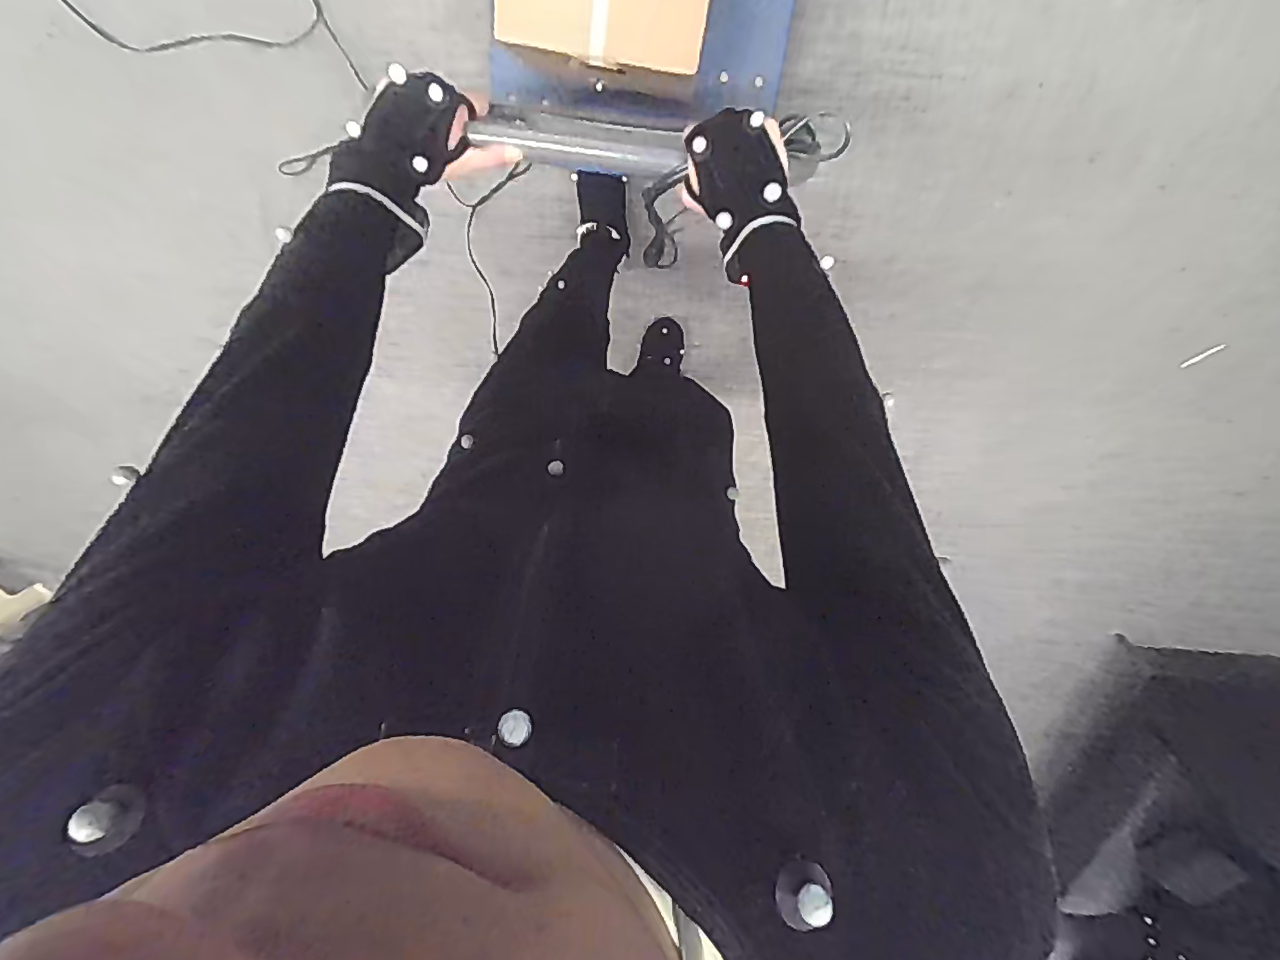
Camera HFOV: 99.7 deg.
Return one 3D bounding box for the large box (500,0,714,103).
[{"bbox_3d":[-0.023,-0.881,0.862,0.320,0.320,0.408,10,119,-2],"label":"large box"}]
